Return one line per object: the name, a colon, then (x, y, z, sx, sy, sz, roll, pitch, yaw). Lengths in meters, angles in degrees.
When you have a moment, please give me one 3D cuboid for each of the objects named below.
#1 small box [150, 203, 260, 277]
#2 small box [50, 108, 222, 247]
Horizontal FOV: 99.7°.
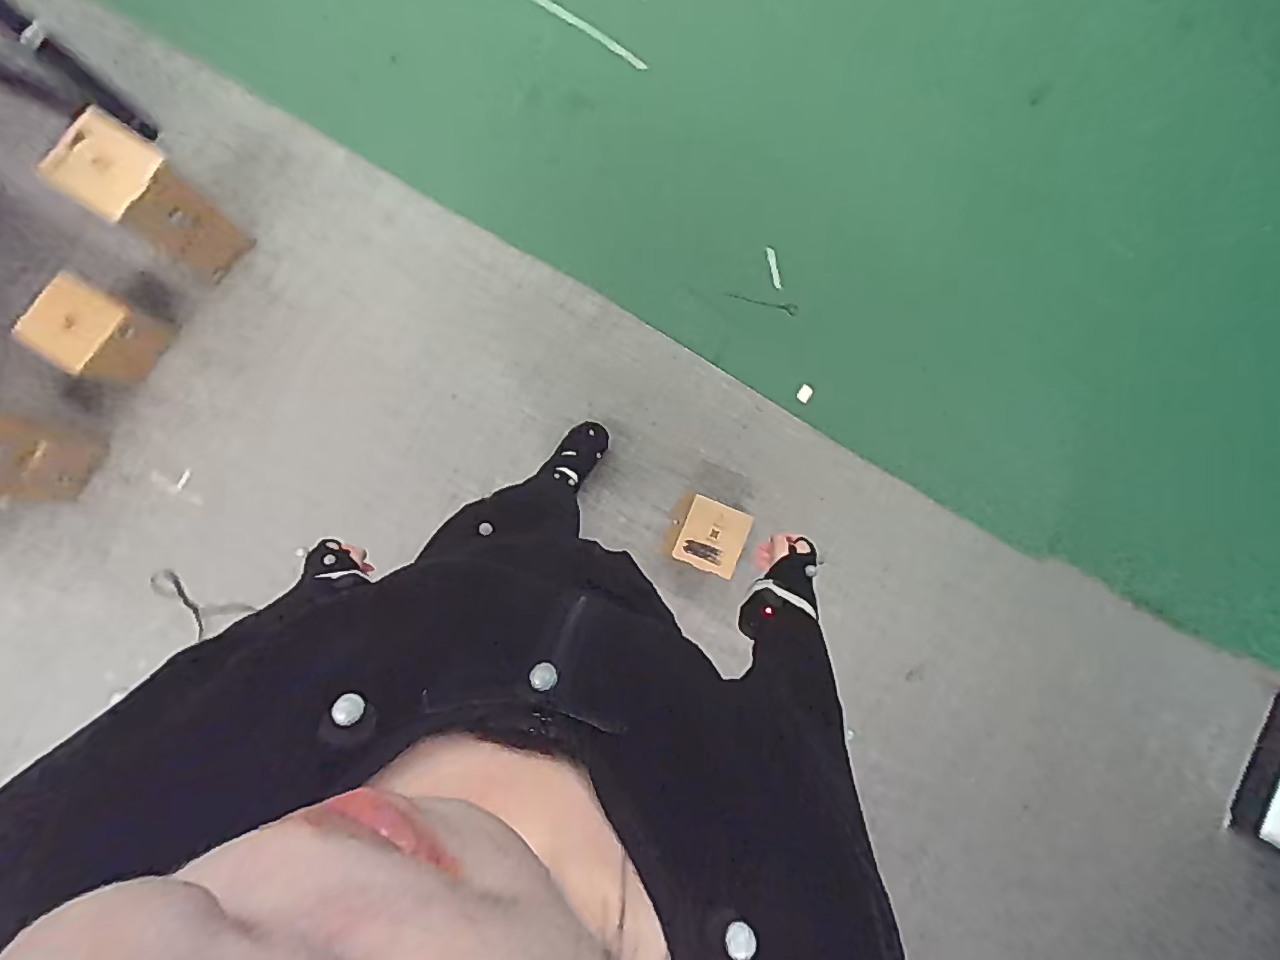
small box: (-1.097, -0.631, 1.332, 0.179, 0.176, 0.168, 39, 84, -3)
small box: (-1.070, -0.636, 1.169, 0.179, 0.176, 0.168, 35, 84, -6)
